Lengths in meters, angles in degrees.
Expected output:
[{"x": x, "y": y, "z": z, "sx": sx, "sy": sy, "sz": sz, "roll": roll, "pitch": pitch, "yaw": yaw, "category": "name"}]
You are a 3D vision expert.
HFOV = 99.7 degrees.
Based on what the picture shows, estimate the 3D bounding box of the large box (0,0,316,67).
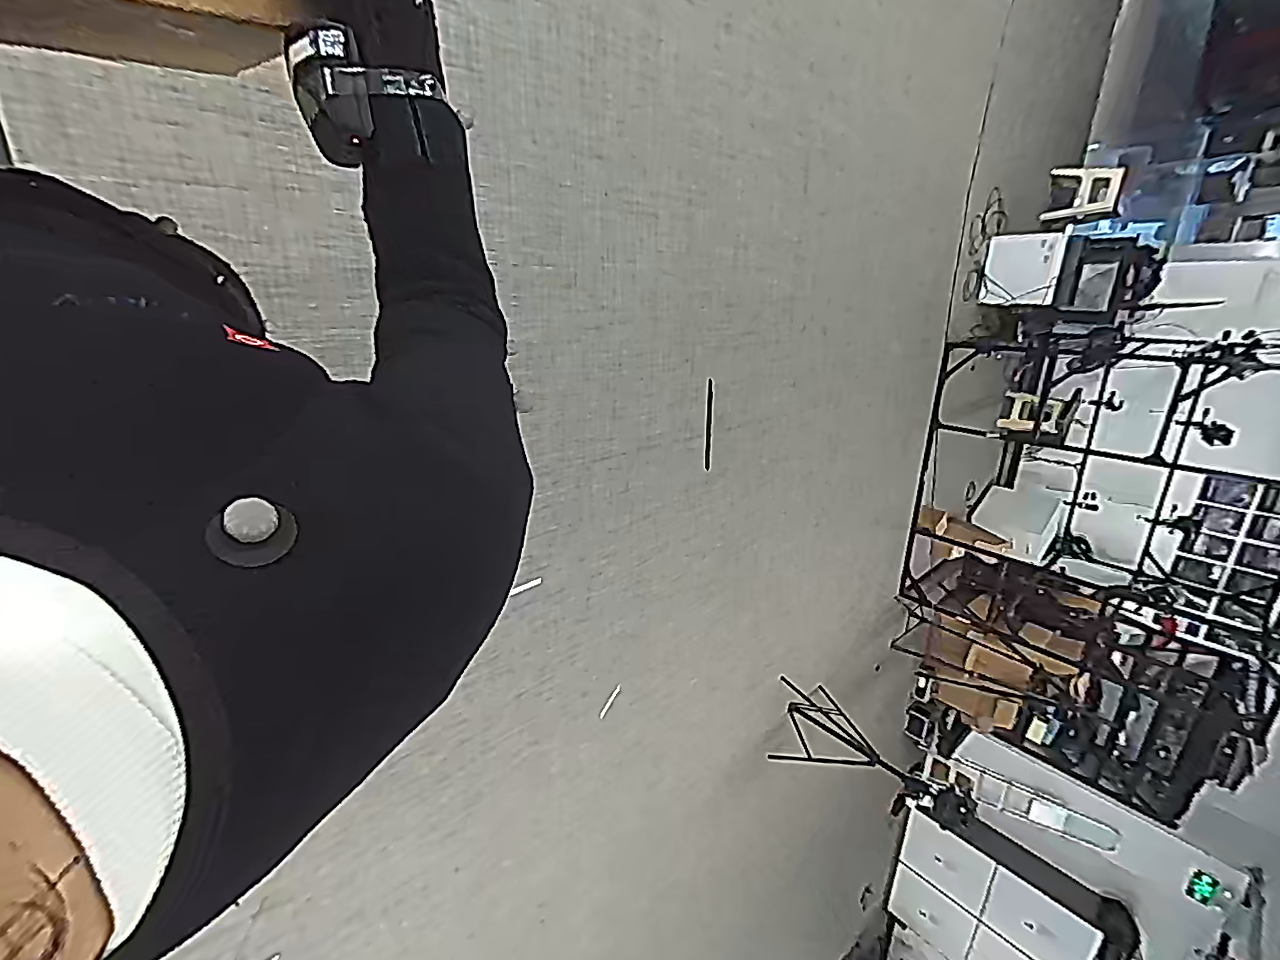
[{"x": -0.444, "y": -0.420, "z": 0.246, "sx": 0.408, "sy": 0.320, "sz": 0.320, "roll": -21, "pitch": 129, "yaw": -38, "category": "large box"}]
